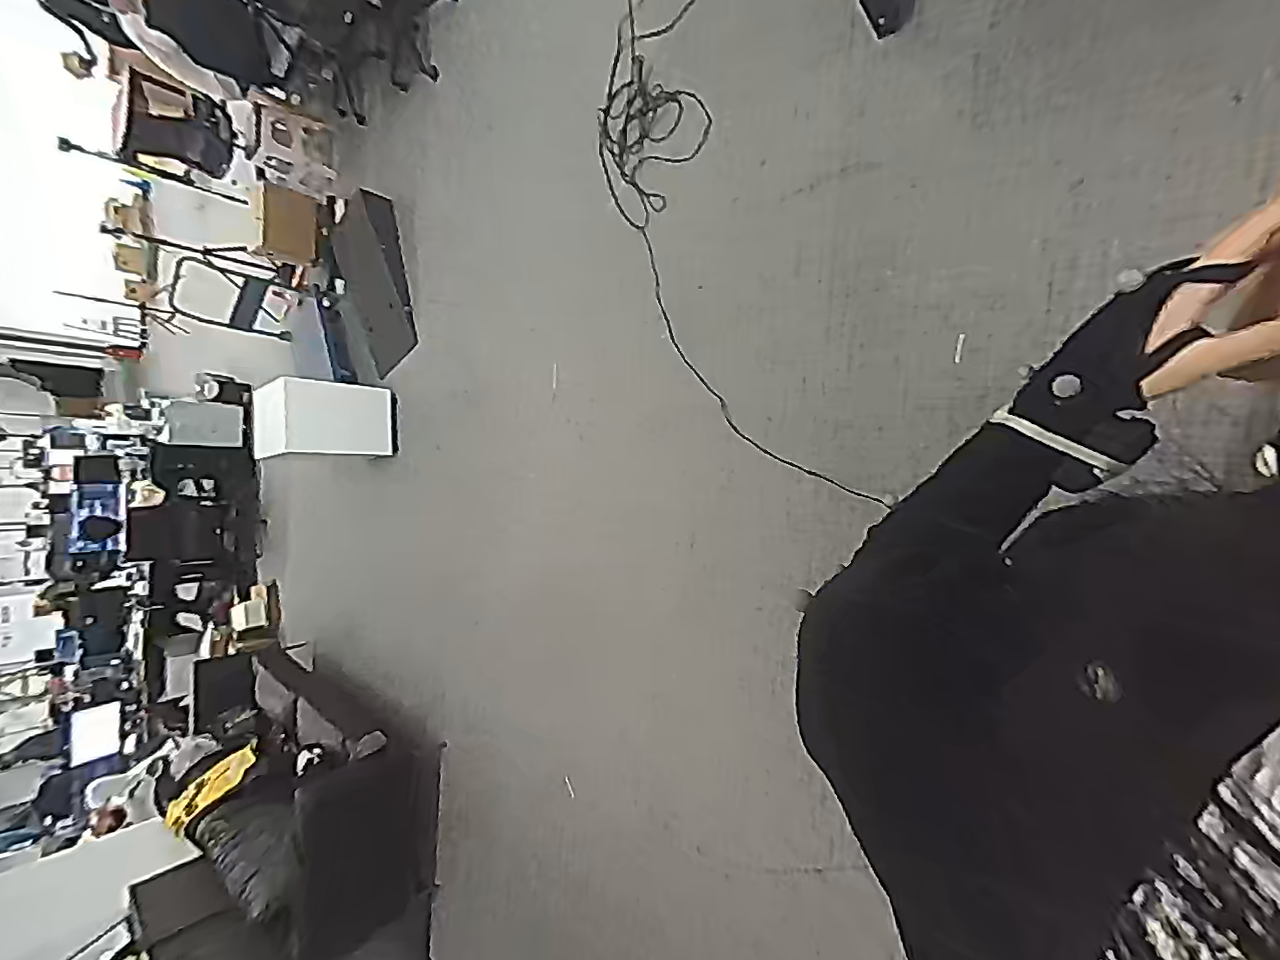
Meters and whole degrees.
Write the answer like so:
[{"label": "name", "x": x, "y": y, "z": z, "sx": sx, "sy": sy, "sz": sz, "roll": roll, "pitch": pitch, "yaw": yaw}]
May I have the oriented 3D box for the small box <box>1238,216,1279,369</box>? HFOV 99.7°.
[{"label": "small box", "x": 0.467, "y": -0.150, "z": 0.269, "sx": 0.168, "sy": 0.176, "sz": 0.179, "roll": 16, "pitch": 96, "yaw": 27}]
